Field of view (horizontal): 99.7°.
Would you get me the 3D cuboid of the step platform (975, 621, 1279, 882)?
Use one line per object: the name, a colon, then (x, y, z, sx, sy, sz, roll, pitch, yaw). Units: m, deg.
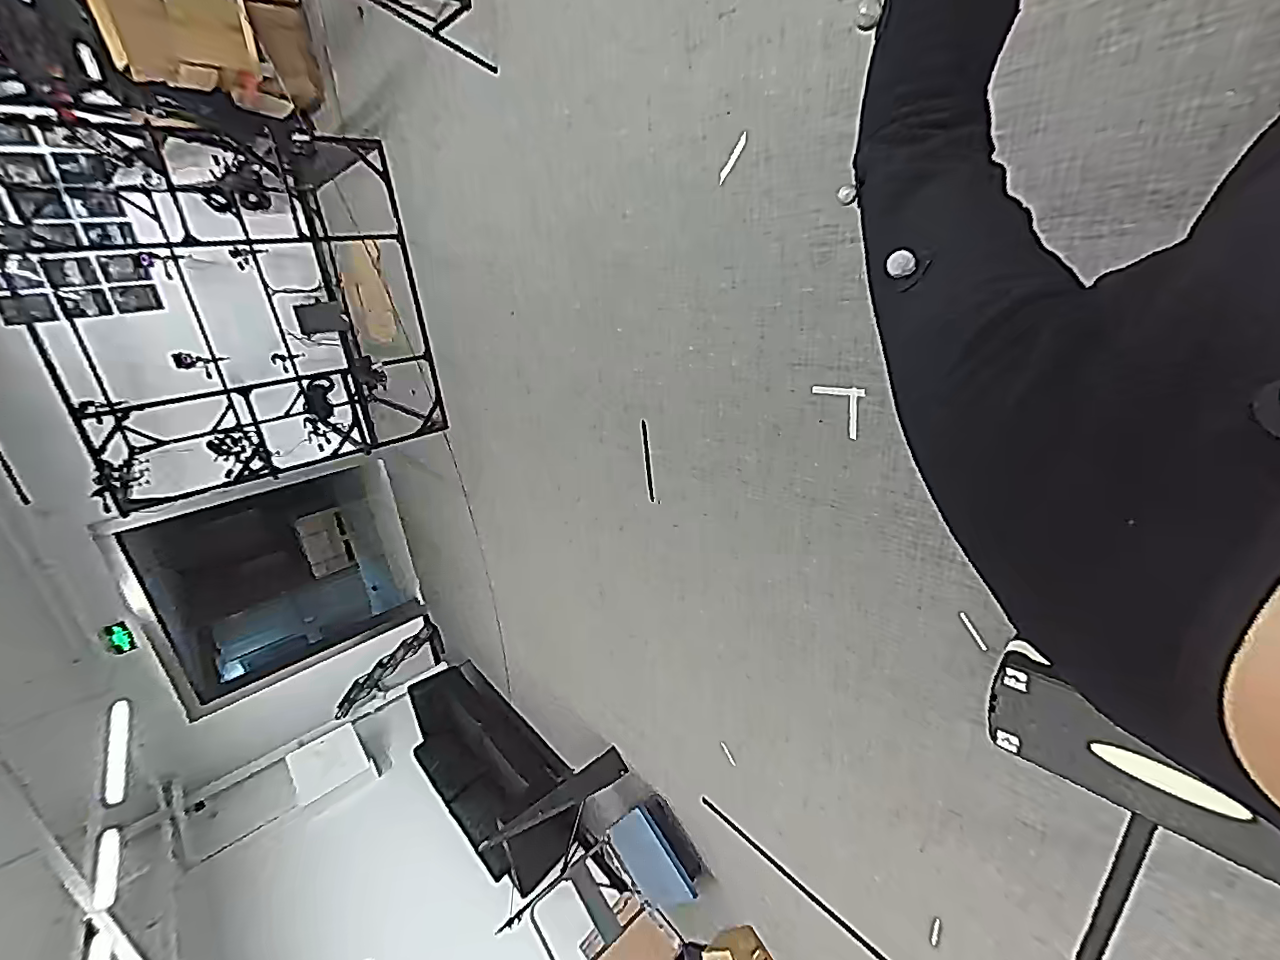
step platform: (1.155, 0.589, 1.219, 0.684, 0.204, 0.286, 17, 121, 49)
